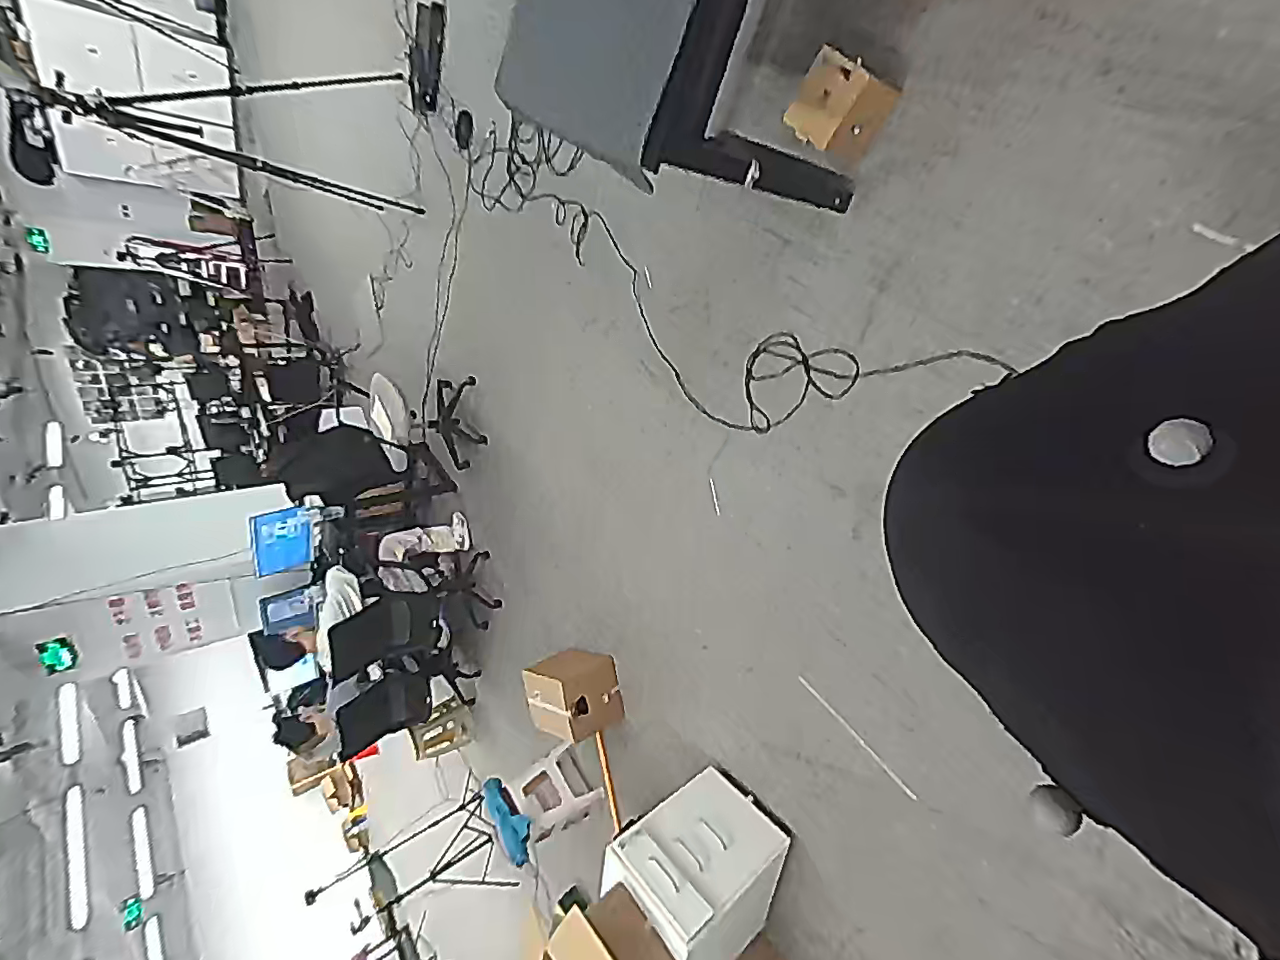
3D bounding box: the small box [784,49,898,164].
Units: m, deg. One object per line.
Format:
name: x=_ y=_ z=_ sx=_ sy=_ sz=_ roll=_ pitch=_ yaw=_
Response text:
small box: x=0.512 y=-0.938 z=1.373 sx=0.168 sy=0.176 sz=0.179 roll=55 pitch=136 yaw=23
